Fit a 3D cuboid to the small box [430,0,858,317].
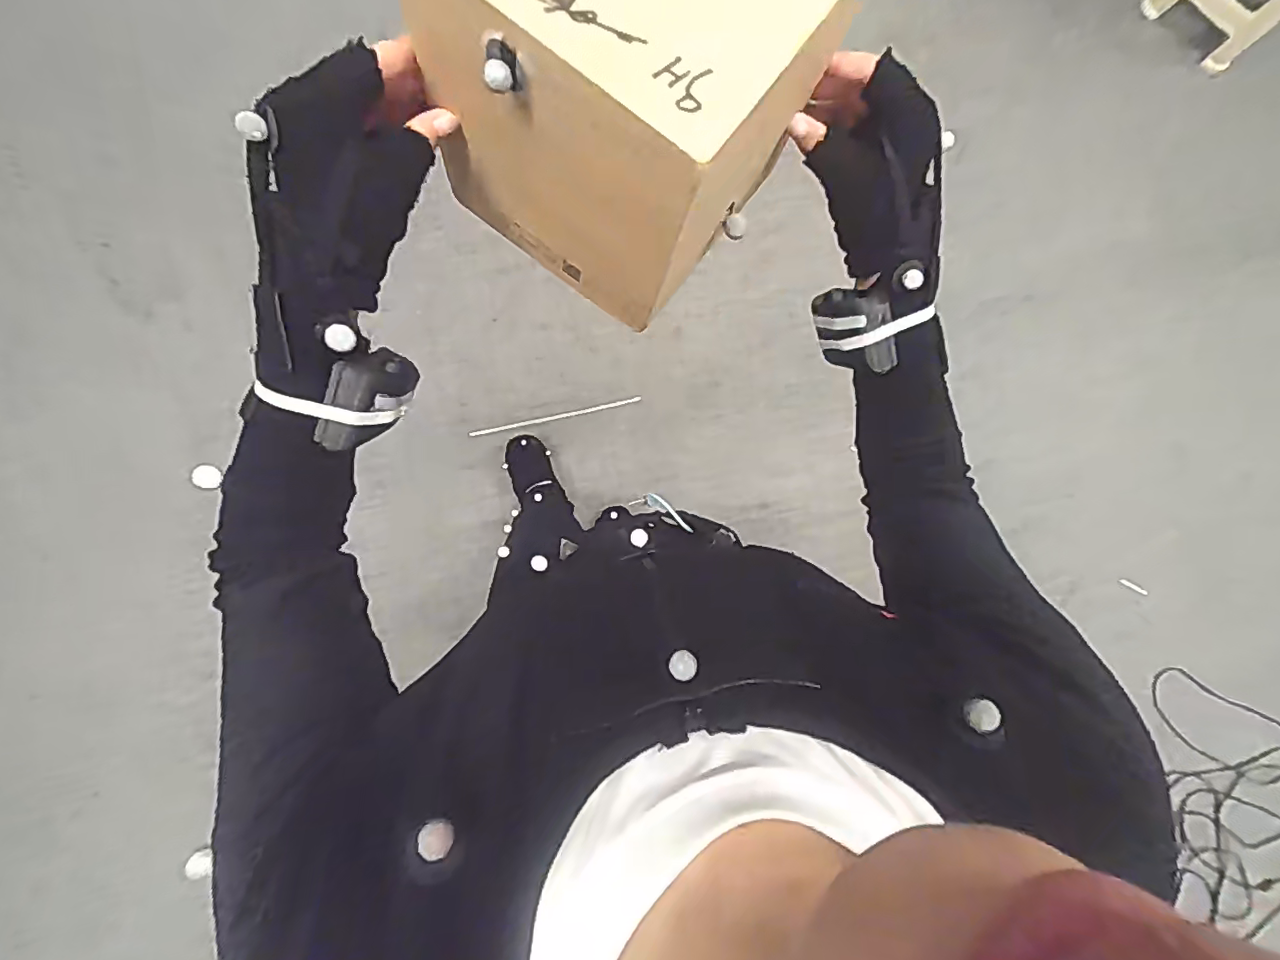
[{"bbox_3d":[-0.004,-0.238,0.324,0.168,0.176,0.179,37,77,-2],"label":"small box"}]
